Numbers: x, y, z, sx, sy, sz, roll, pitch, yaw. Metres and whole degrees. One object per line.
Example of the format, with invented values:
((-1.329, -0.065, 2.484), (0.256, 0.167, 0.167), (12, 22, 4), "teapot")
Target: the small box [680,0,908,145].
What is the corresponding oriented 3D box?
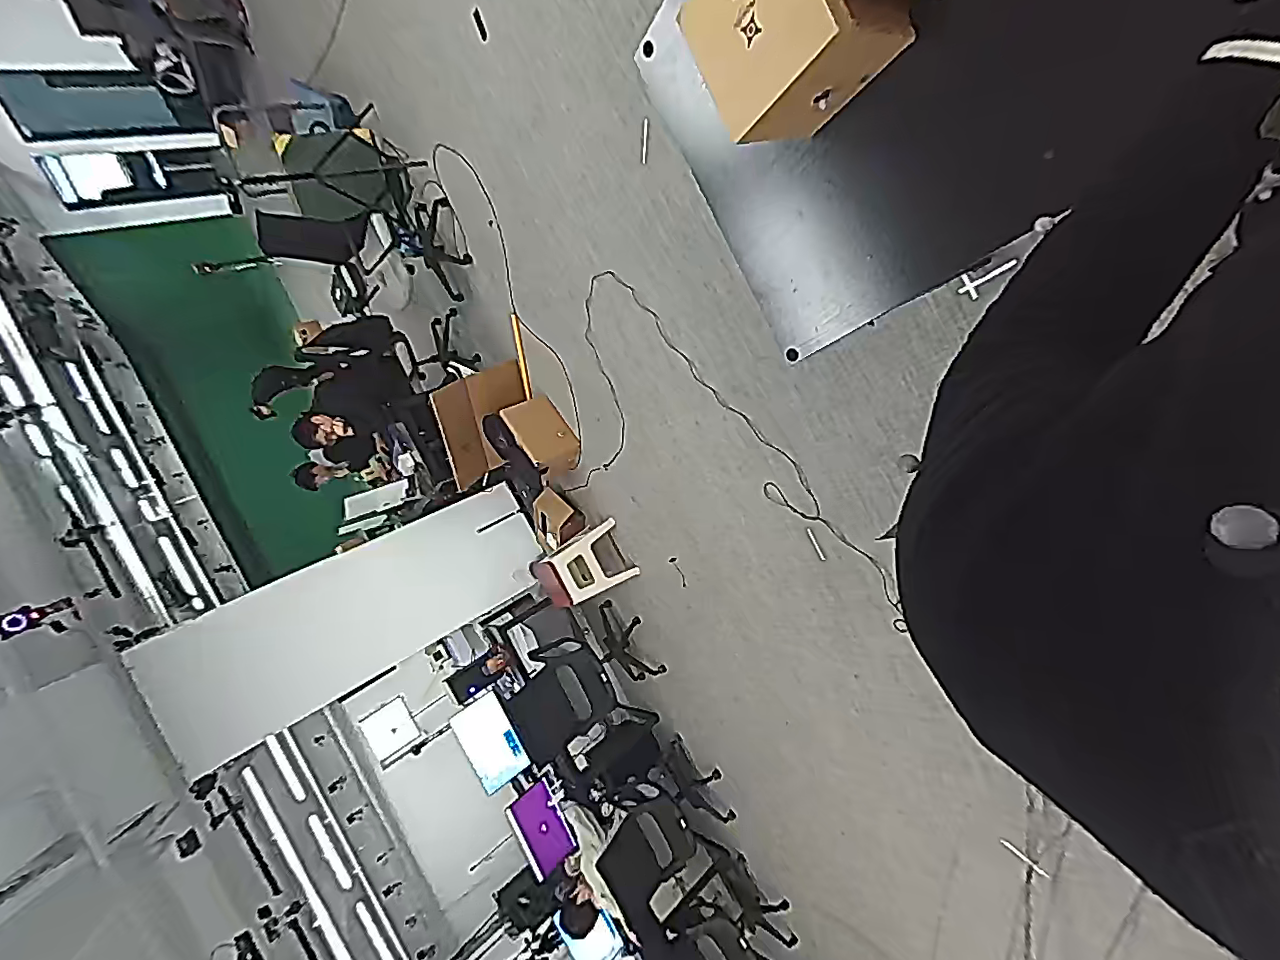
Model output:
((0.186, -0.548, 0.654), (0.168, 0.176, 0.179), (-21, 95, 57), "small box")
